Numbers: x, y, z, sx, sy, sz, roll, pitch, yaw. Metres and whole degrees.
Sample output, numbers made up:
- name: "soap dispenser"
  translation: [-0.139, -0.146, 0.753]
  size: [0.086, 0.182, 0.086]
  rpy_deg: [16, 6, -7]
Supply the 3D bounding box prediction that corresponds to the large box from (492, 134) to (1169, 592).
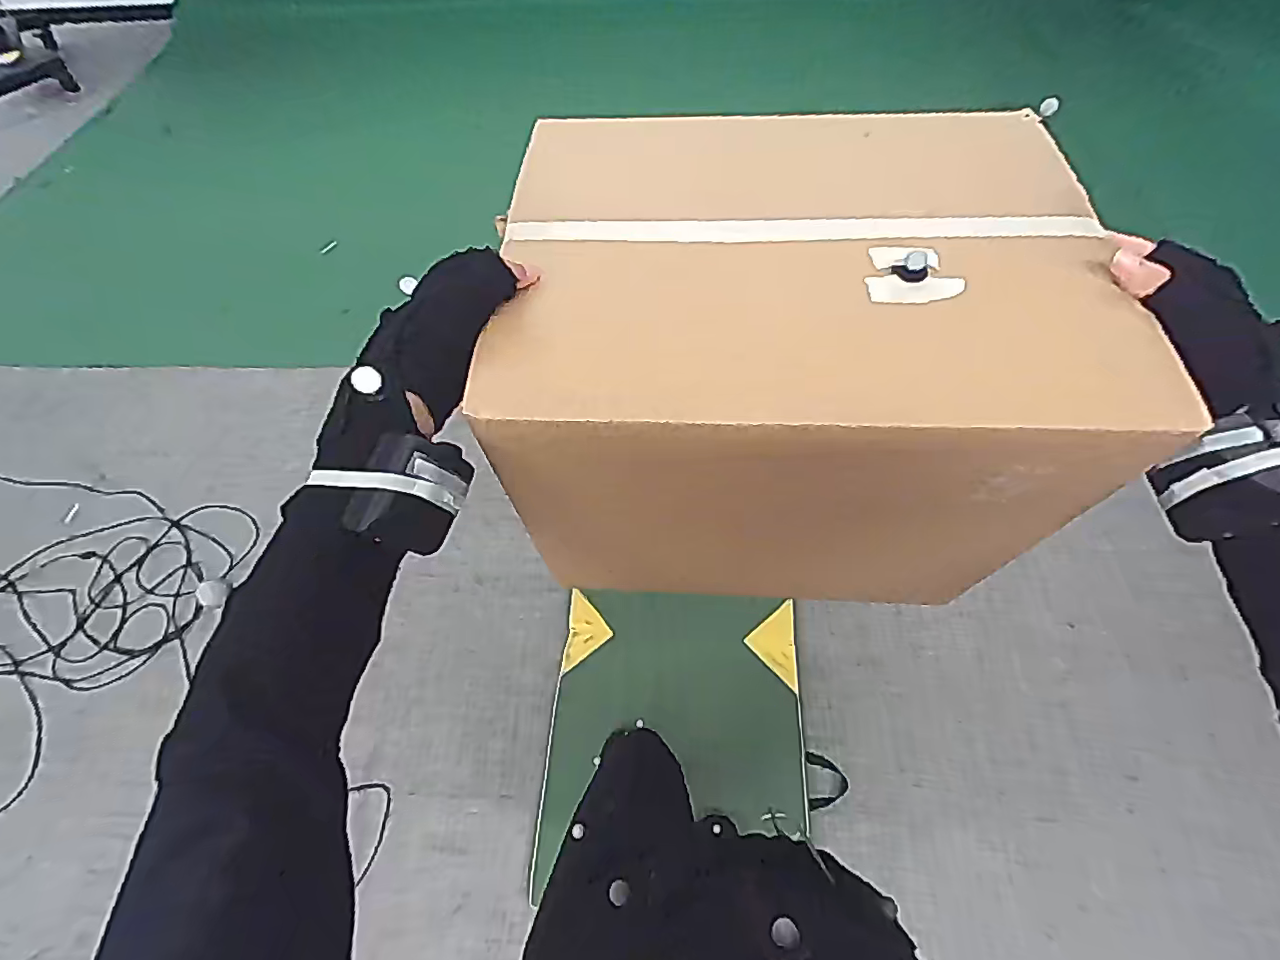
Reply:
- name: "large box"
  translation: [0.114, -0.090, 0.518]
  size: [0.408, 0.320, 0.320]
  rpy_deg: [1, 61, 3]
